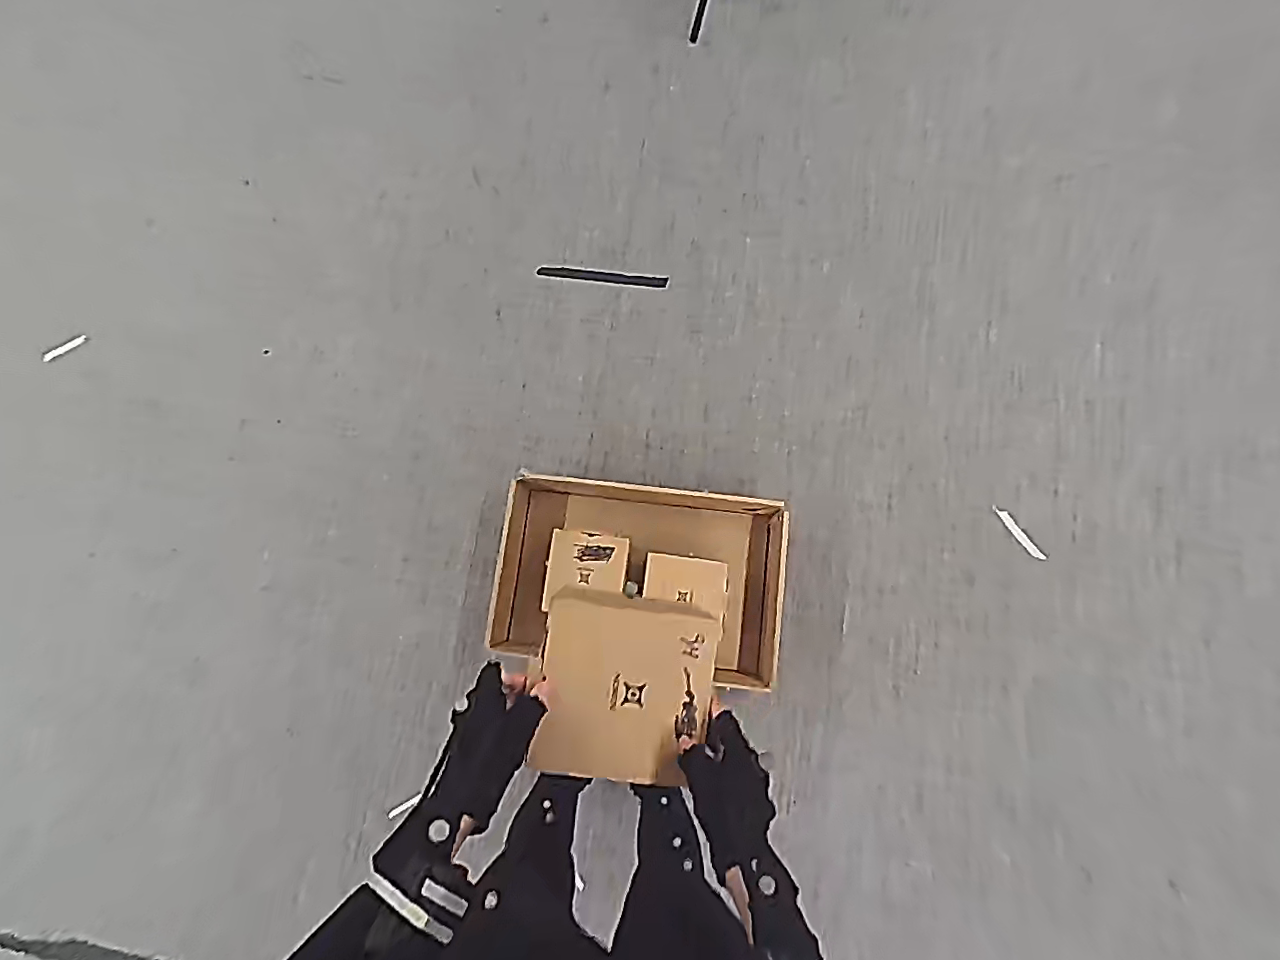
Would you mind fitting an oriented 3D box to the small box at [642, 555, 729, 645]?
[{"bbox_3d":[0.096,0.263,1.202,0.179,0.176,0.168,6,78,6],"label":"small box"}]

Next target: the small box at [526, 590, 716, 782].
[{"bbox_3d":[-0.020,0.221,0.624,0.179,0.176,0.168,8,81,-2],"label":"small box"}]
